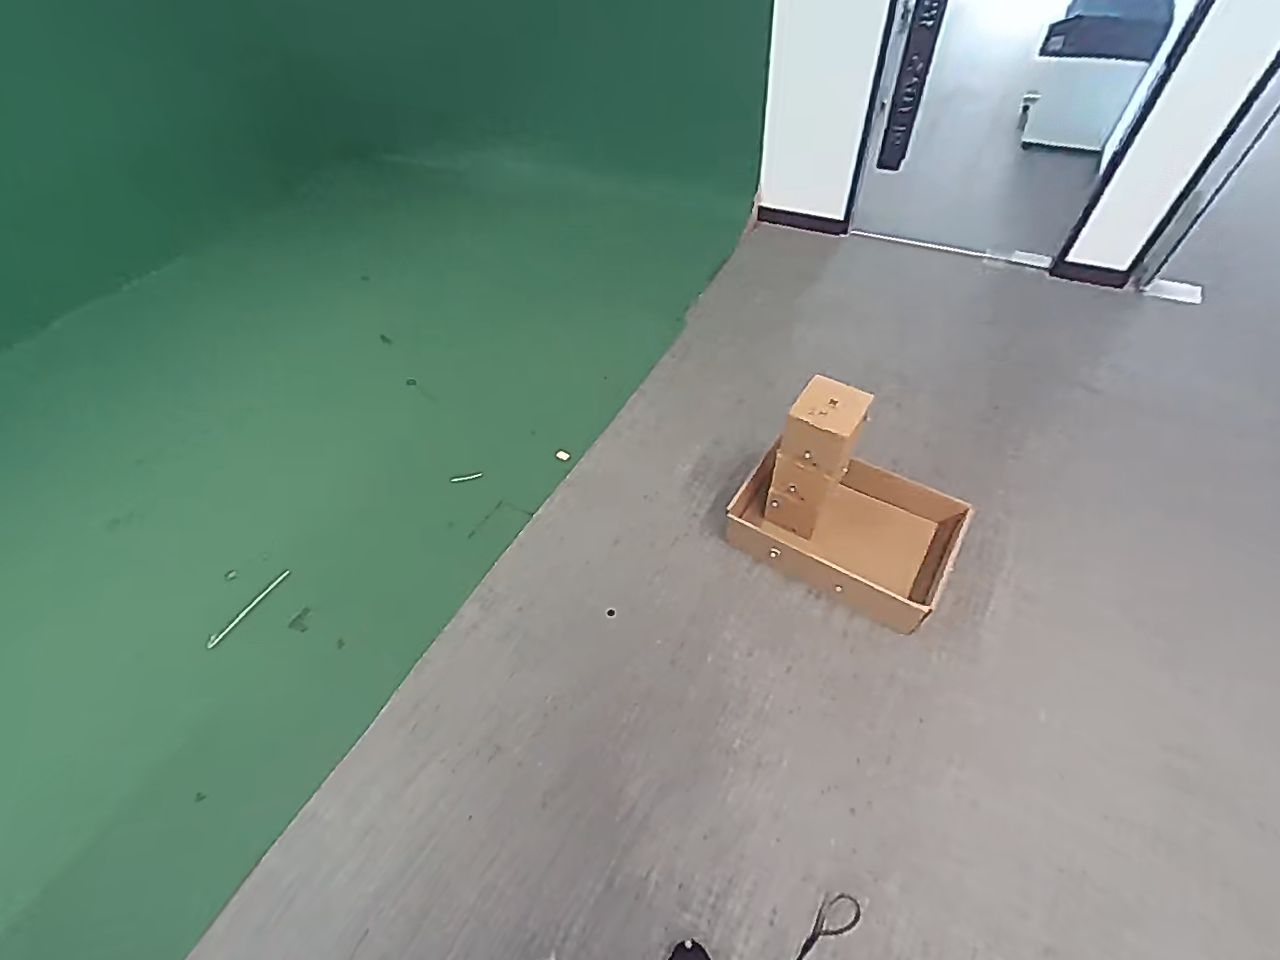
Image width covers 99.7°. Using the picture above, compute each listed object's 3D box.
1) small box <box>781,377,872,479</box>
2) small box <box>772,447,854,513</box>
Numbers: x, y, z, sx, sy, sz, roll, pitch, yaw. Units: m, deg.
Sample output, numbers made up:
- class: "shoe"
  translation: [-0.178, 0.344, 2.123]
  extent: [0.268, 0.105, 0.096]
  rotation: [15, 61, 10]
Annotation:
- class: "small box"
  translation: [0.495, -0.138, 1.457]
  extent: [0.168, 0.176, 0.179]
  rotation: [28, 60, 24]
- class: "small box"
  translation: [0.502, -0.037, 1.587]
  extent: [0.168, 0.176, 0.179]
  rotation: [27, 60, 23]
